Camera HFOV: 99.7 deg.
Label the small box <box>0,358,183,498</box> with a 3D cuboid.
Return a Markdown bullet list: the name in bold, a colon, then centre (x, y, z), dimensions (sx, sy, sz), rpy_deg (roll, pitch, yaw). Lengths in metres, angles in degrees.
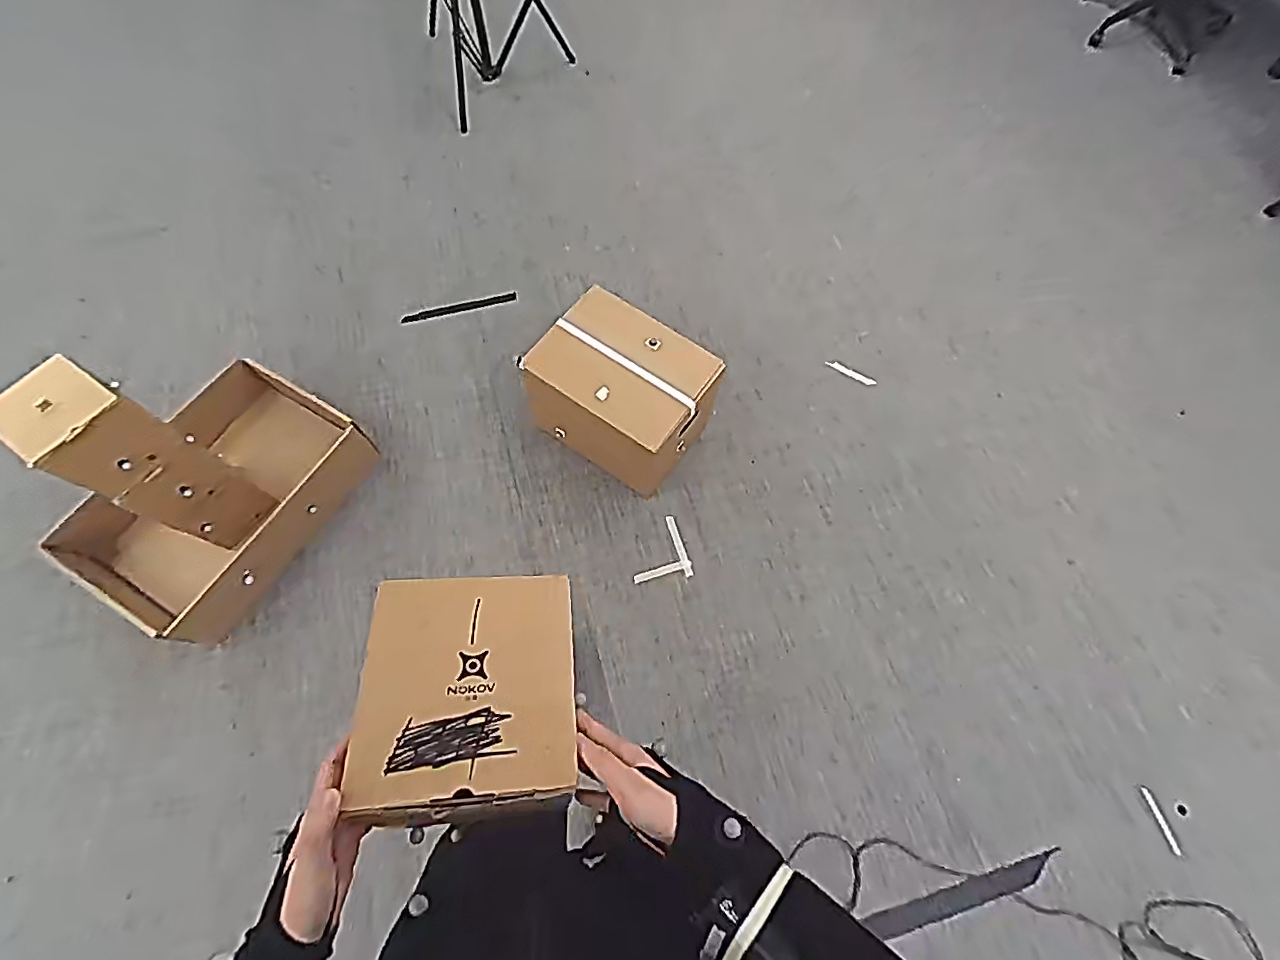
- **small box**: centre (-1.048, -0.091, 1.030), dimensions (0.179, 0.176, 0.168), rpy_deg (32, 69, 11)

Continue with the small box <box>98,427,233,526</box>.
- **small box**: centre (-1.051, -0.018, 1.176), dimensions (0.179, 0.176, 0.168), rpy_deg (33, 69, 11)

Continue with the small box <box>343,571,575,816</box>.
- **small box**: centre (-0.146, 0.200, 0.499), dimensions (0.168, 0.176, 0.179), rpy_deg (1, 53, -11)
